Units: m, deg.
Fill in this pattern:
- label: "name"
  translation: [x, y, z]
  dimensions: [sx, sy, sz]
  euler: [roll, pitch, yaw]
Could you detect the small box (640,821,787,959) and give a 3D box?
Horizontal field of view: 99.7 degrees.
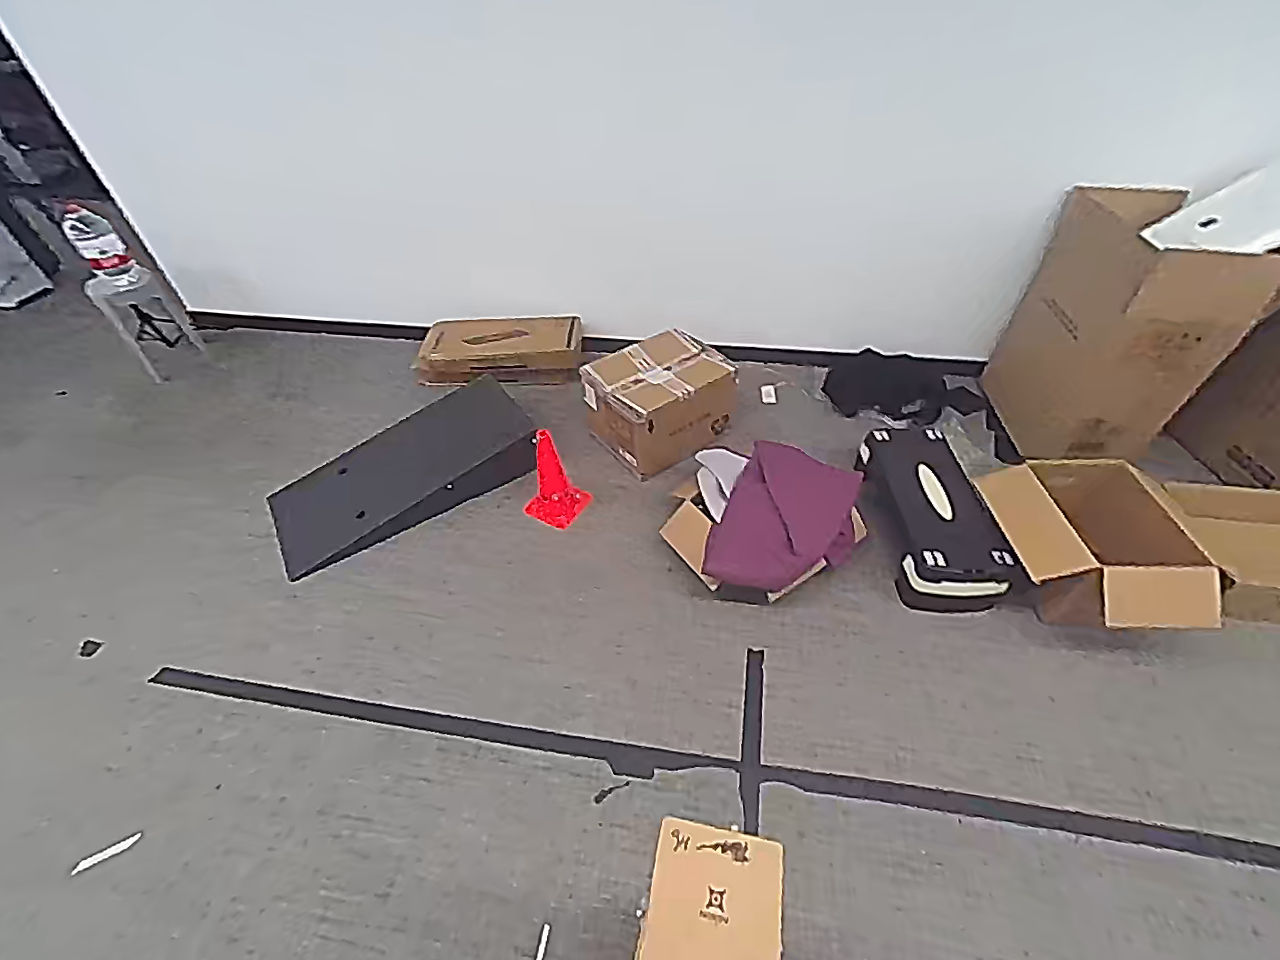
- label: "small box"
  translation: [0.099, 0.592, 0.721]
  dimensions: [0.168, 0.176, 0.179]
  euler: [7, 46, 11]
